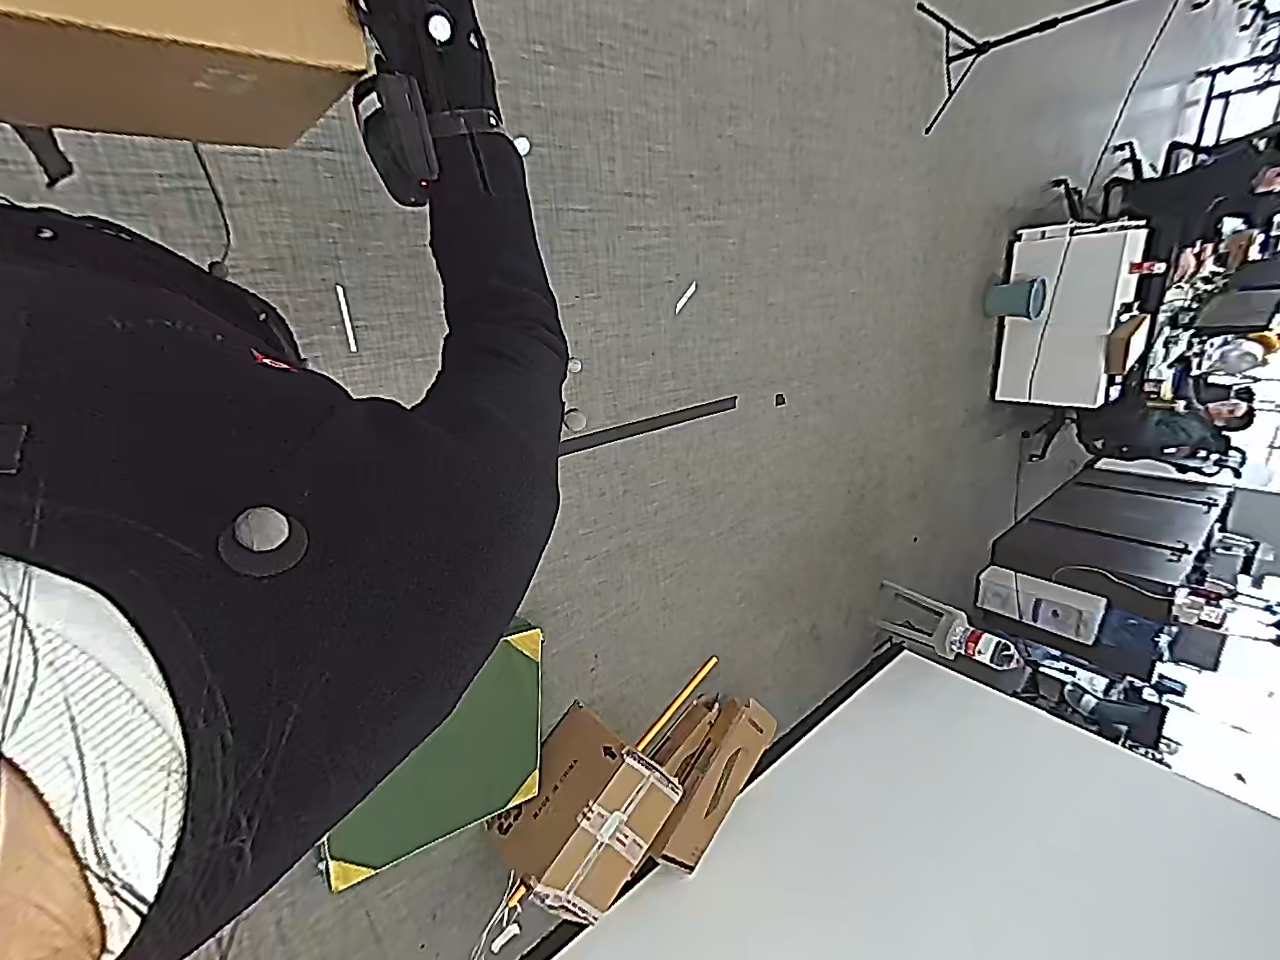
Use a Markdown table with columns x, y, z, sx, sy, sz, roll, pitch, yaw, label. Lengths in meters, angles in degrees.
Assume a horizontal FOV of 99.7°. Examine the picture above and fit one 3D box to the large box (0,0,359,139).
| x | y | z | sx | sy | sz | roll | pitch | yaw | label |
| --- | --- | --- | --- | --- | --- | --- | --- | --- | --- |
| -0.428 | -0.391 | 0.274 | 0.408 | 0.320 | 0.320 | -19 | 120 | -36 | large box |
